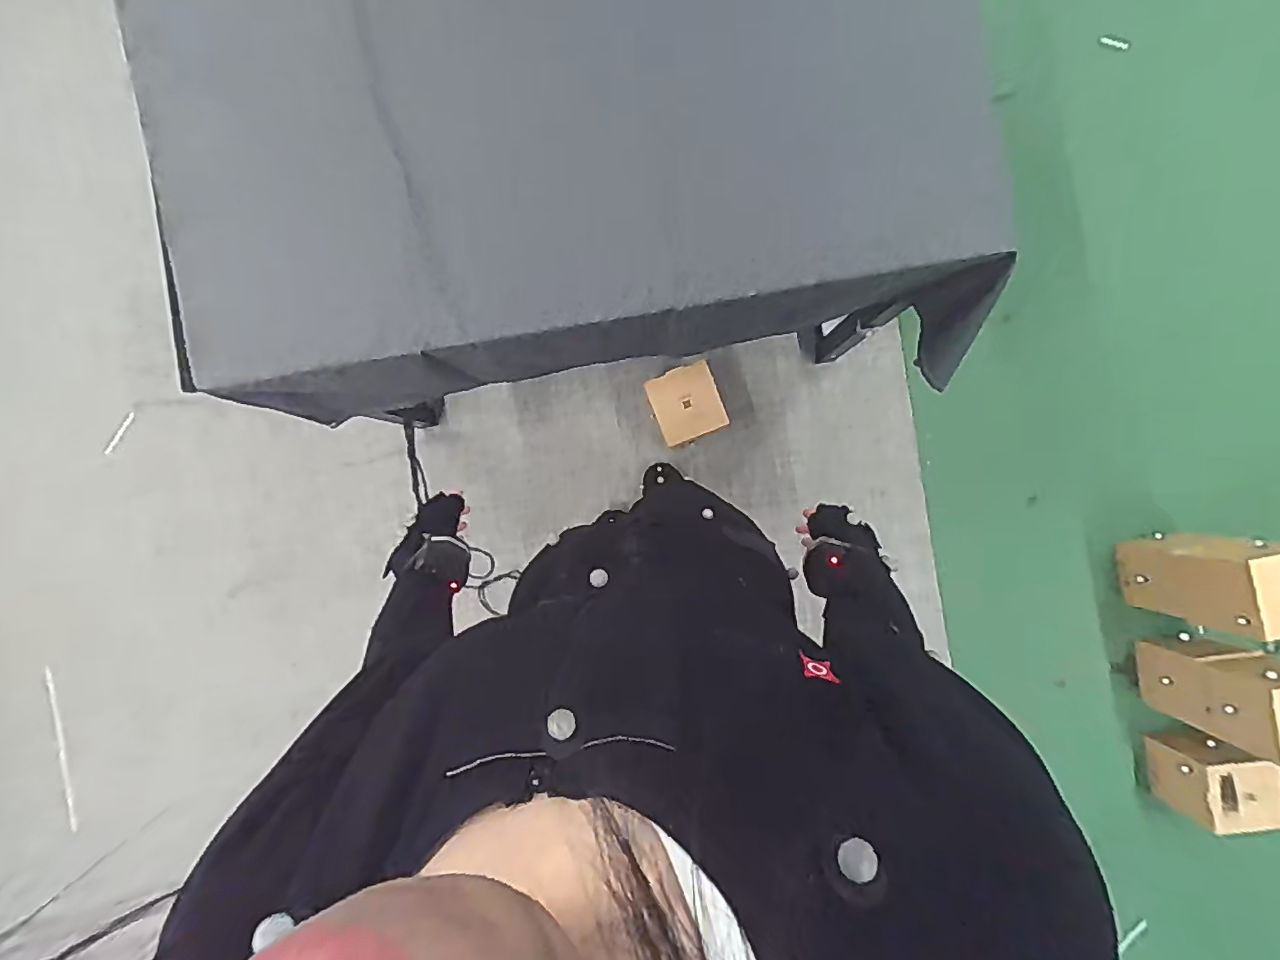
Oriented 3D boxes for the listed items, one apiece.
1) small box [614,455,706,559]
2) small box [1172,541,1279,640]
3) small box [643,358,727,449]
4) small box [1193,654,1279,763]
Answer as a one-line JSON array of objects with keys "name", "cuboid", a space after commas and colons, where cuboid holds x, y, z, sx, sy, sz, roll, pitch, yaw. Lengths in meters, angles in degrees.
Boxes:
[{"name": "small box", "cuboid": [0.059, 0.072, 1.414, 0.168, 0.176, 0.179, 29, 65, 29]}, {"name": "small box", "cuboid": [1.350, 0.236, 1.205, 0.168, 0.176, 0.179, -11, 90, 1]}, {"name": "small box", "cuboid": [0.112, -0.191, 1.407, 0.168, 0.176, 0.179, -21, 89, 2]}, {"name": "small box", "cuboid": [1.392, 0.500, 1.202, 0.179, 0.176, 0.168, -8, 91, 2]}]
